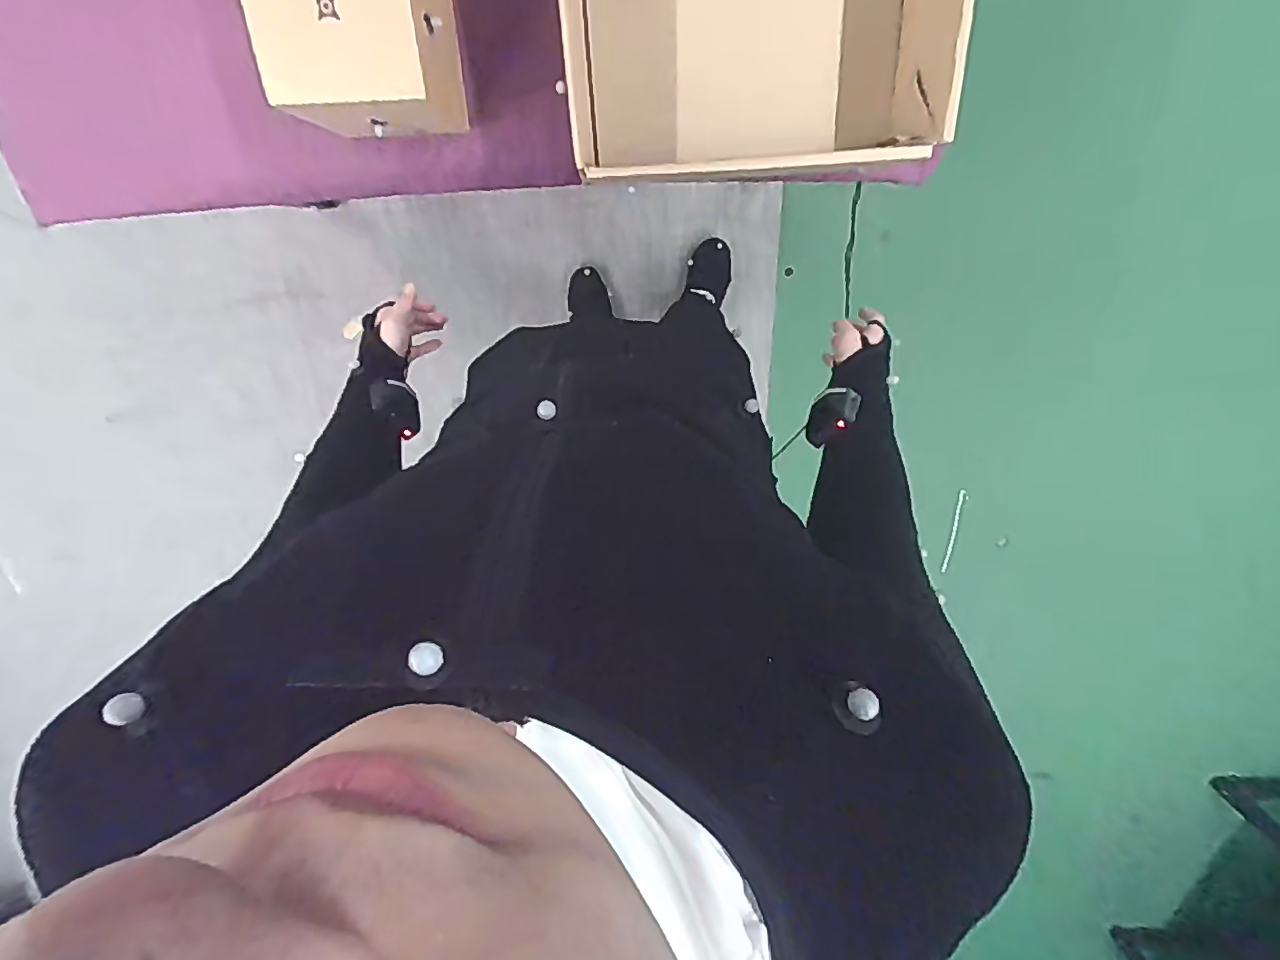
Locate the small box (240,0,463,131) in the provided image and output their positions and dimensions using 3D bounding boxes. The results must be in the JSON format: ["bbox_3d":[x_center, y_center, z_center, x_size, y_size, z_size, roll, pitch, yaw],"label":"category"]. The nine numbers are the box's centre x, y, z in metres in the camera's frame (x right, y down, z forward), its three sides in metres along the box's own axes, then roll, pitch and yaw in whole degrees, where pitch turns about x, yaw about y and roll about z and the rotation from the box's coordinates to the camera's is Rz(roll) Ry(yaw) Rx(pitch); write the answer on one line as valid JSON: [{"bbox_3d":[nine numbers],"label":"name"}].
[{"bbox_3d":[-0.307,-0.500,0.598,0.168,0.176,0.179,-2,113,-1],"label":"small box"}]
